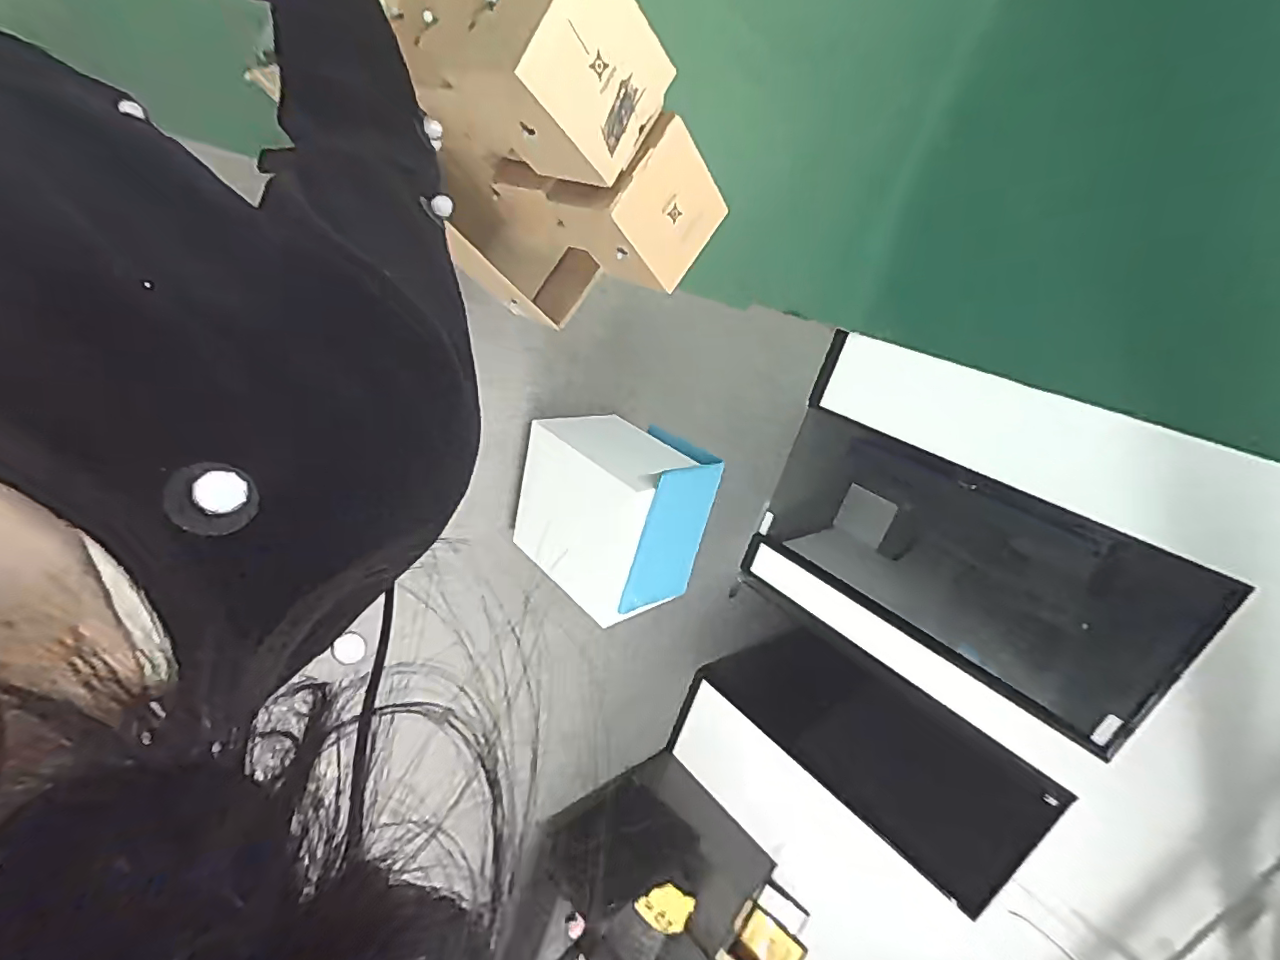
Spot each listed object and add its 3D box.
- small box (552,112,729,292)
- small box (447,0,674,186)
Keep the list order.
[{"bbox_3d":[-0.002,-0.422,0.831,0.168,0.176,0.179,-55,140,-1],"label":"small box"},{"bbox_3d":[-0.097,-0.499,0.662,0.179,0.176,0.168,25,95,-52],"label":"small box"}]
